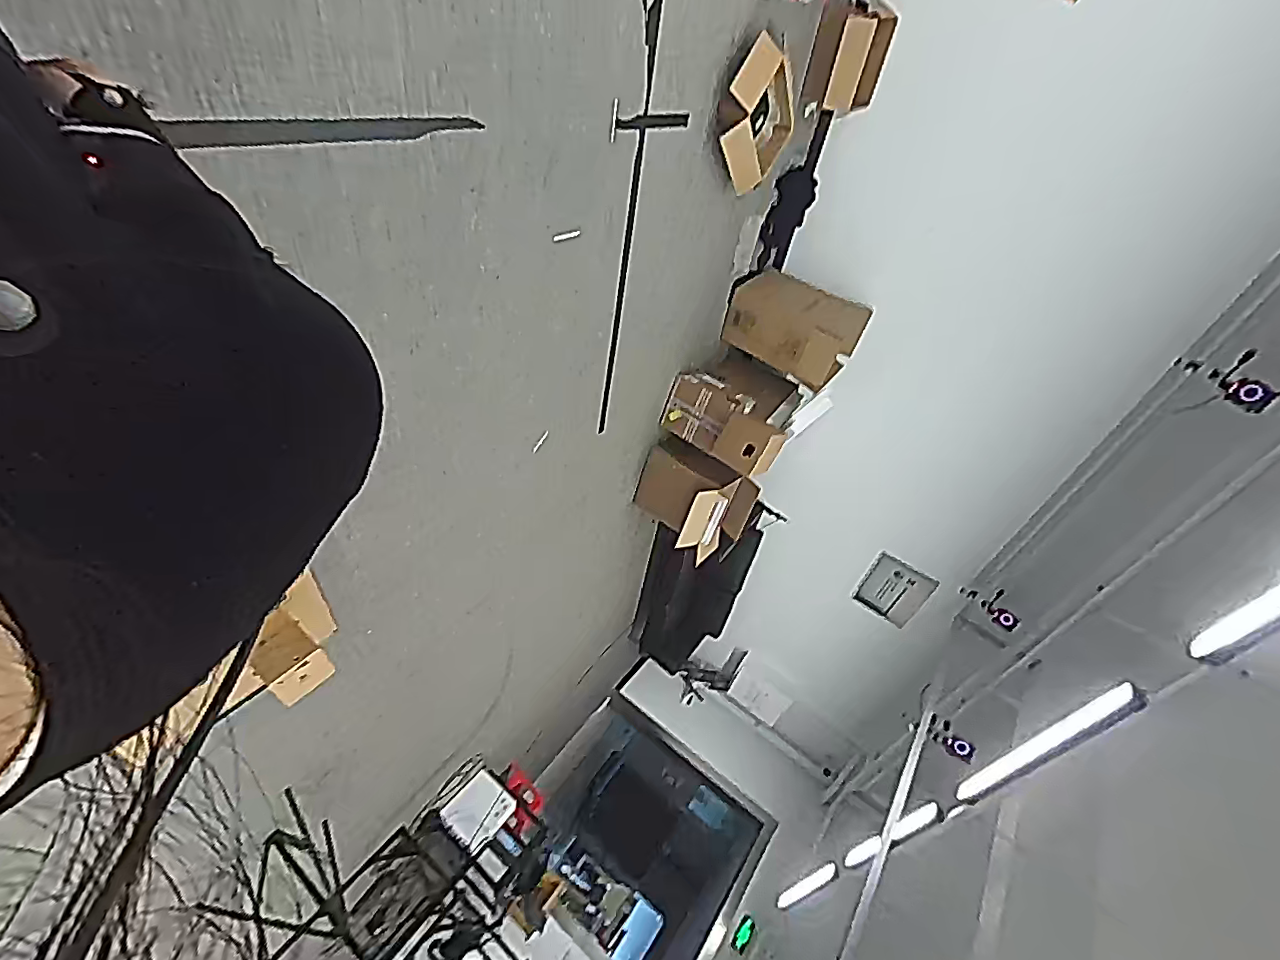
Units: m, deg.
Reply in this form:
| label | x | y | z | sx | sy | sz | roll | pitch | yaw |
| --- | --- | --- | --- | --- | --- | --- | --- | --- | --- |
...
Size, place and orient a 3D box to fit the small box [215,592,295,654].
| label | x | y | z | sx | sy | sz | roll | pitch | yaw |
| --- | --- | --- | --- | --- | --- | --- | --- | --- | --- |
| small box | -1.274 | 0.504 | 1.815 | 0.168 | 0.176 | 0.179 | -40 | 153 | -37 |

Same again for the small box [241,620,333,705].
| label | x | y | z | sx | sy | sz | roll | pitch | yaw |
| --- | --- | --- | --- | --- | --- | --- | --- | --- | --- |
| small box | -1.145 | 0.589 | 1.758 | 0.168 | 0.176 | 0.179 | -41 | 154 | -36 |
